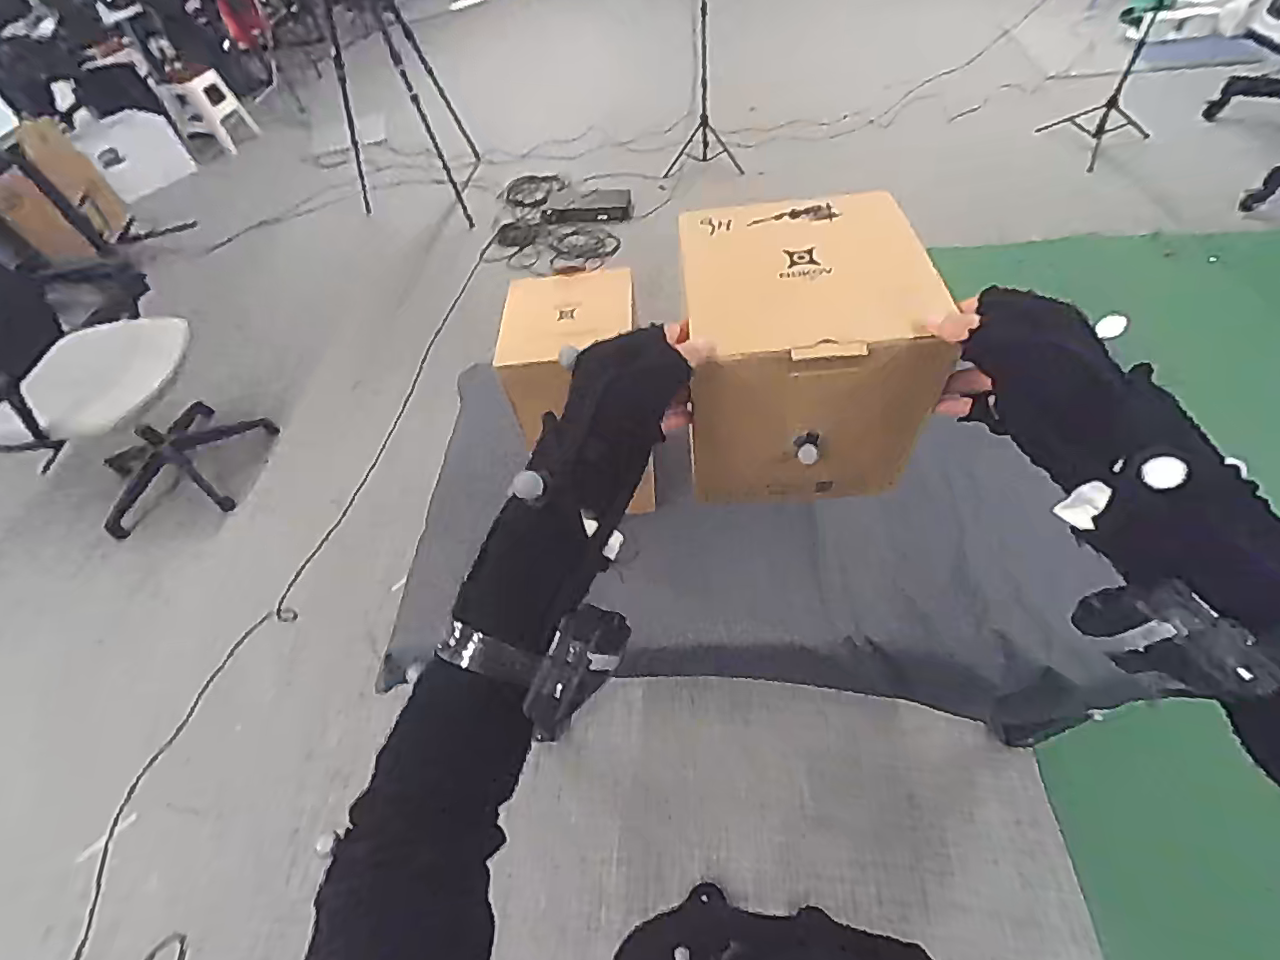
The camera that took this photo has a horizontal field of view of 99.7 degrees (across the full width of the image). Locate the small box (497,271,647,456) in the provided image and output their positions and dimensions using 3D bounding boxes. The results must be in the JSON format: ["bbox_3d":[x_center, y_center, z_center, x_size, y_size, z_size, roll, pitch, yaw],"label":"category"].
[{"bbox_3d":[-0.080,-0.155,0.737,0.168,0.176,0.179,-5,54,4],"label":"small box"}]

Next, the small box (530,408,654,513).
[{"bbox_3d":[-0.067,-0.058,0.866,0.168,0.176,0.179,-4,52,3],"label":"small box"}]

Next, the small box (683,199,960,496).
[{"bbox_3d":[0.123,-0.097,0.444,0.168,0.176,0.179,-3,54,5],"label":"small box"}]
